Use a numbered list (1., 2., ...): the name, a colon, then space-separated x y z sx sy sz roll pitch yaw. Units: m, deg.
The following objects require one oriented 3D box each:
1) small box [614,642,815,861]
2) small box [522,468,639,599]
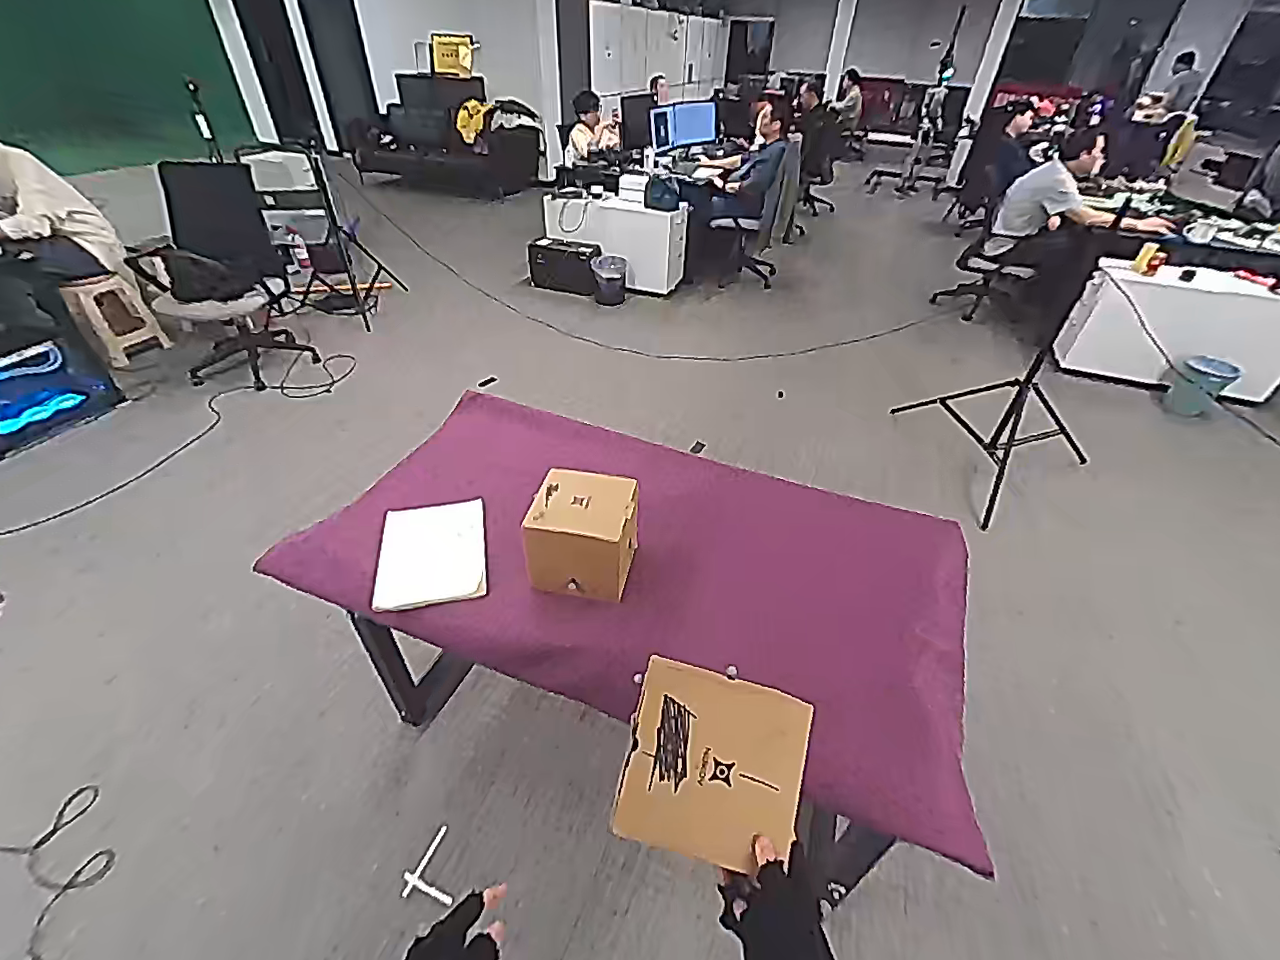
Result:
1. small box: 0.080 0.293 0.622 0.179 0.176 0.168 14 74 5
2. small box: -0.104 0.102 1.022 0.179 0.176 0.168 8 39 7
